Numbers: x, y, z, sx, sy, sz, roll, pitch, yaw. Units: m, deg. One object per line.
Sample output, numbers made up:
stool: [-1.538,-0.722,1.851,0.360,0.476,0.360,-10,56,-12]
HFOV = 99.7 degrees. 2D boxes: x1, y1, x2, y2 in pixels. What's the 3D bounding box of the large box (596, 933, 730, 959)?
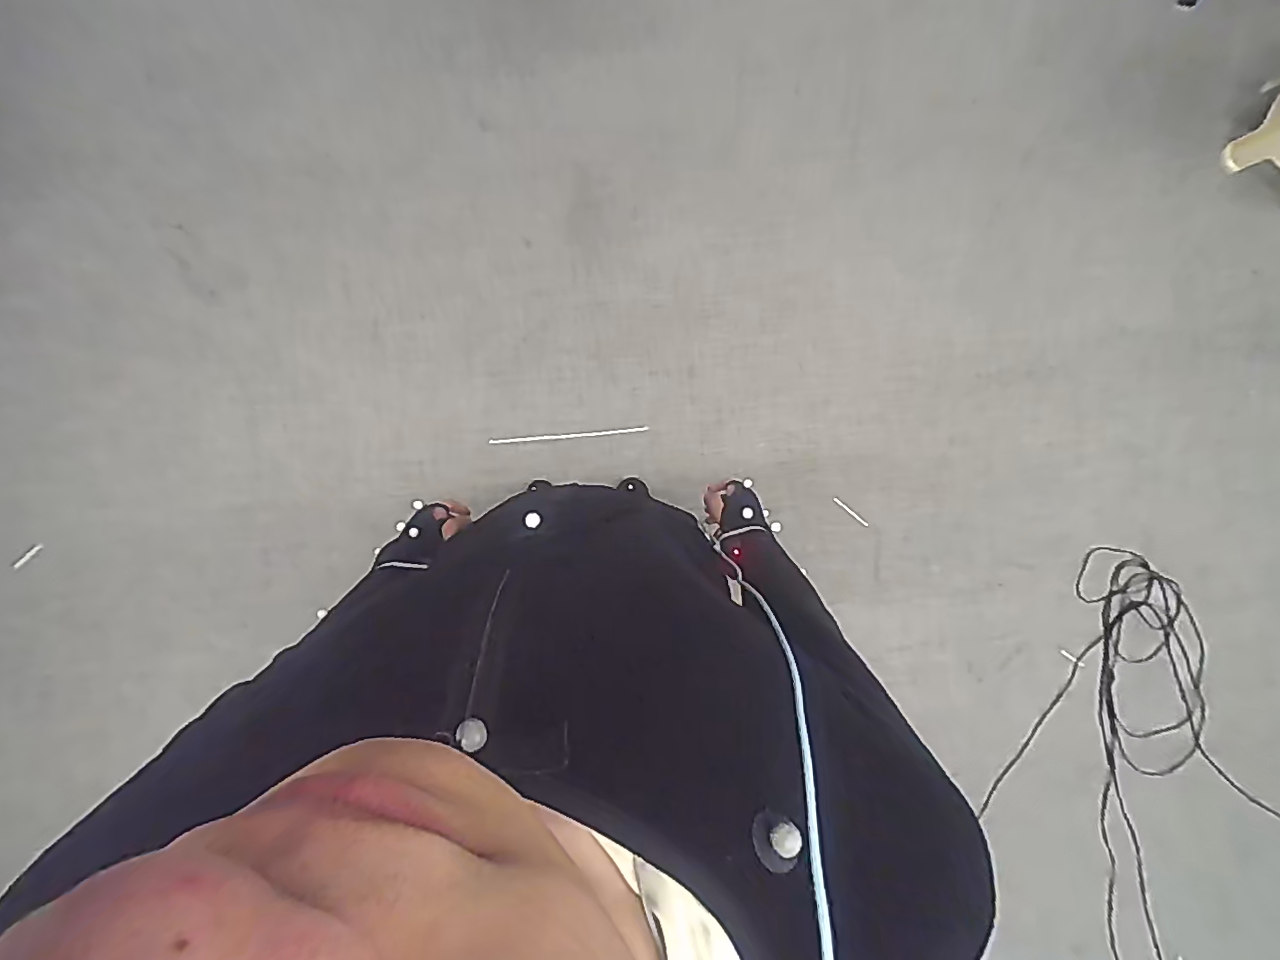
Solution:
large box: [0.086,1.560,1.502,0.408,0.320,0.320,-6,89,-3]
